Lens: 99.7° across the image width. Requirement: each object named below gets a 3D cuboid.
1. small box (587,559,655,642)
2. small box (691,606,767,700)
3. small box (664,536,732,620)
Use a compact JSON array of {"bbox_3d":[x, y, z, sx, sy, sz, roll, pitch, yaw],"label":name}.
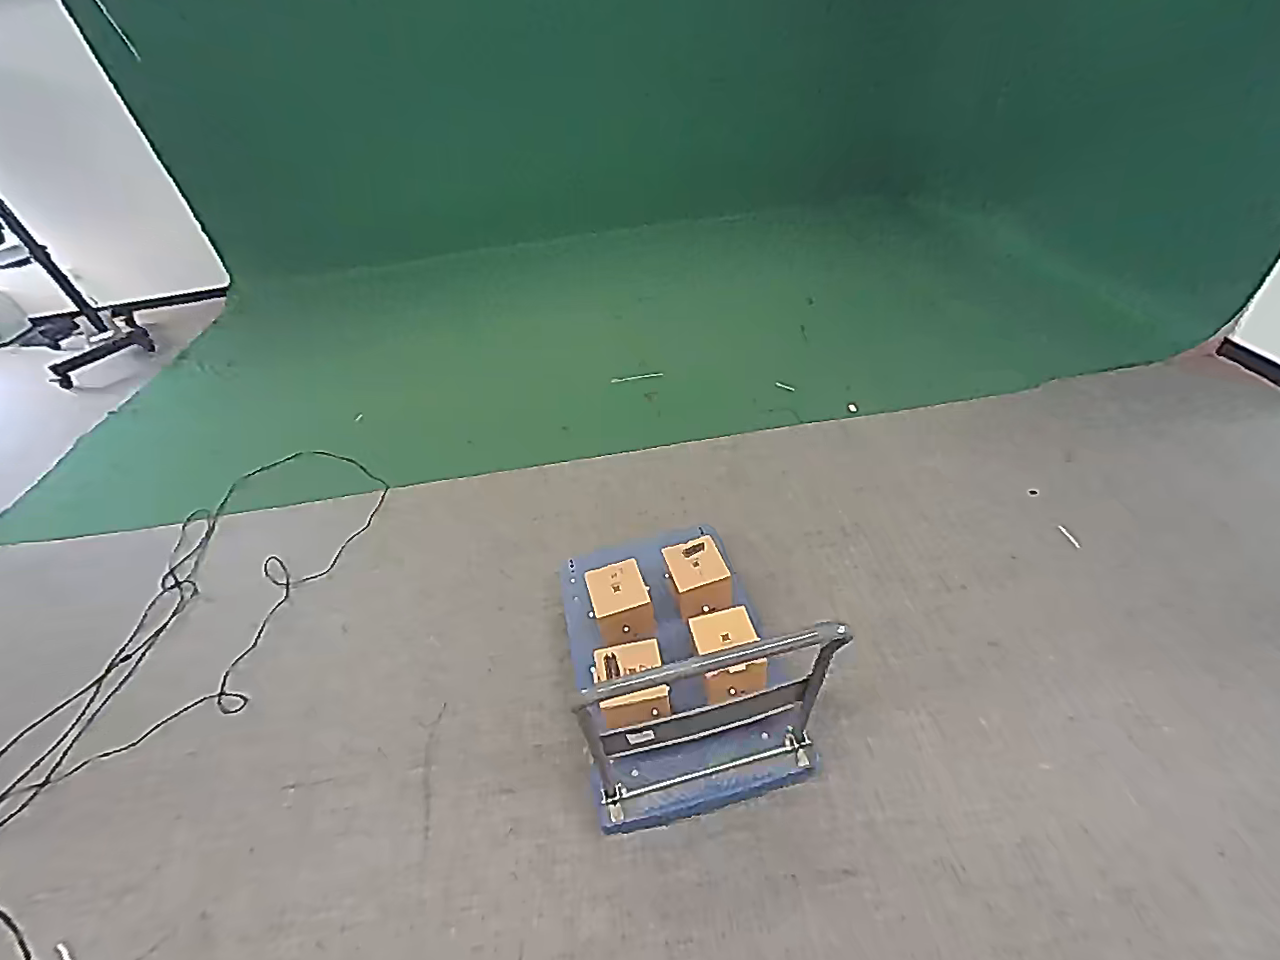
[{"bbox_3d":[-0.057,0.381,1.682,0.168,0.176,0.179,-15,43,-9],"label":"small box"},{"bbox_3d":[0.244,0.487,1.522,0.168,0.176,0.179,-13,43,-5],"label":"small box"},{"bbox_3d":[0.182,0.312,1.718,0.168,0.176,0.179,-16,44,-7],"label":"small box"}]
